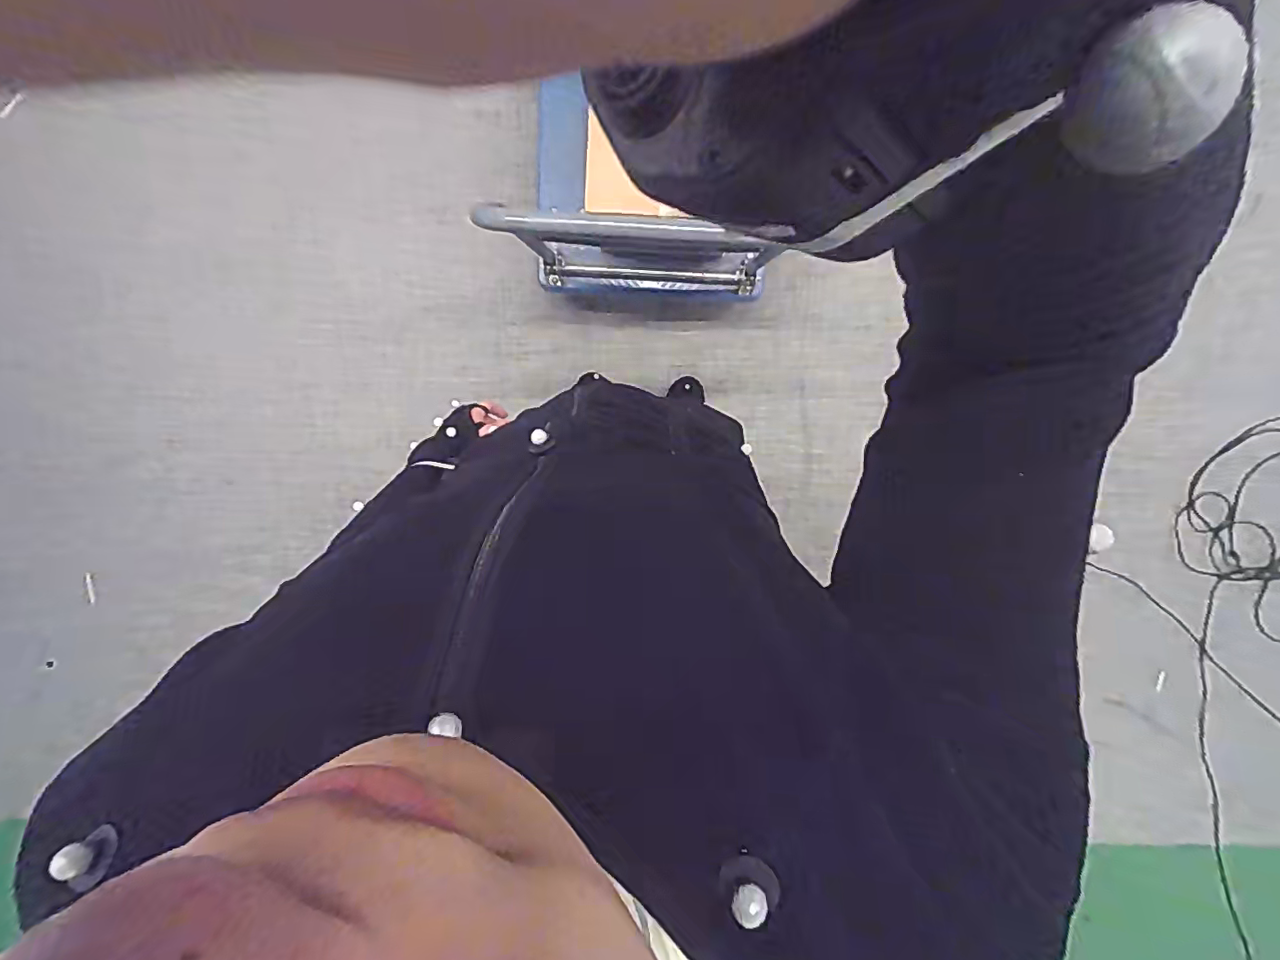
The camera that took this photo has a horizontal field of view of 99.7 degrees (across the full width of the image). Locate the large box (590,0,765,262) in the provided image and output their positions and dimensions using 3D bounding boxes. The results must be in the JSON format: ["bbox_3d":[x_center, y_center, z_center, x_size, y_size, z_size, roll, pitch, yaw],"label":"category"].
[{"bbox_3d":[0.071,-0.713,1.161,0.320,0.320,0.408,4,99,0],"label":"large box"}]
